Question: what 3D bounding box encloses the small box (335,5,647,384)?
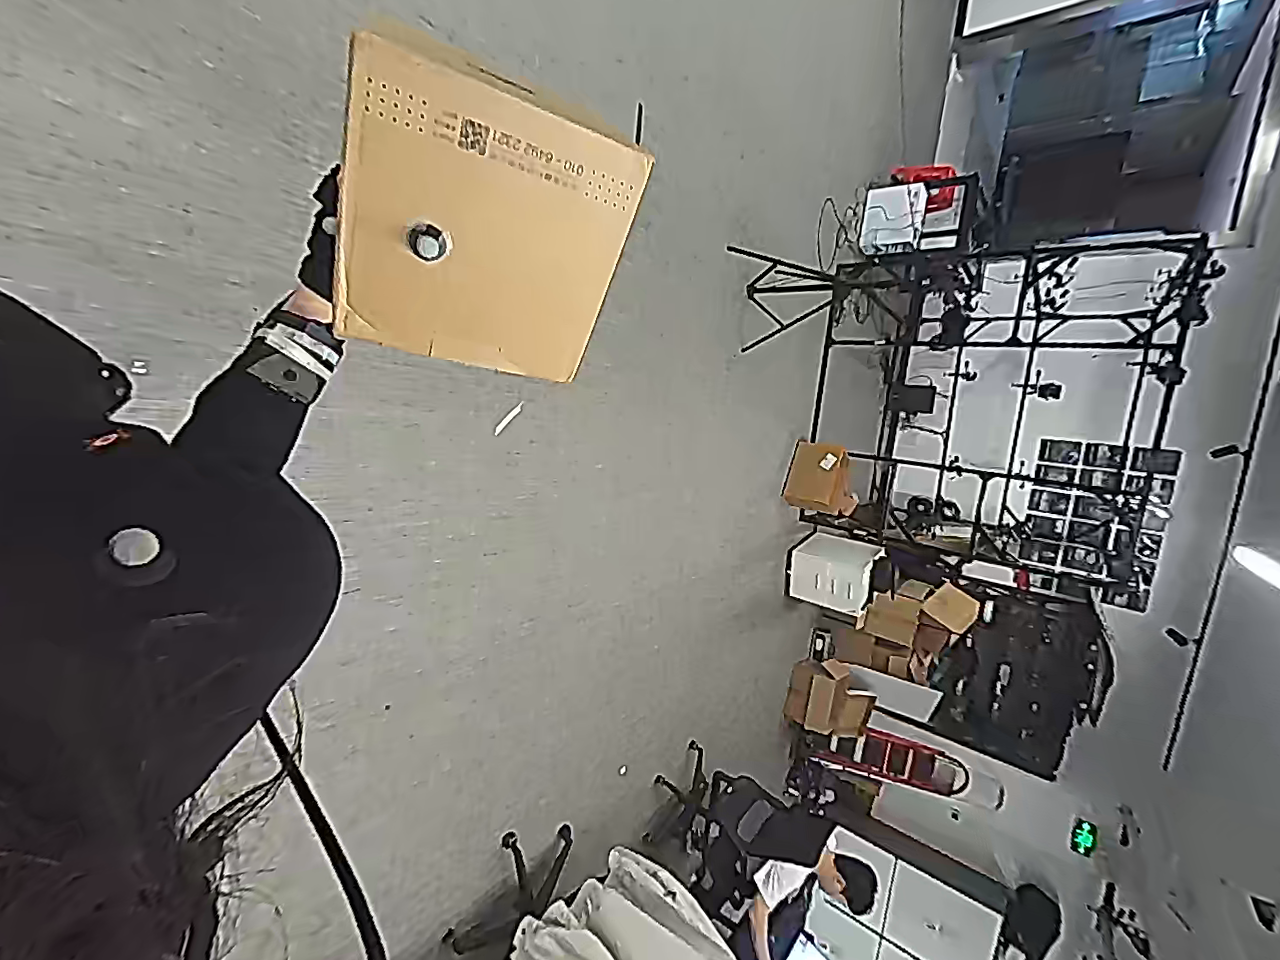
[{"bbox_3d":[-0.113,-0.198,0.387,0.168,0.179,0.176,8,128,-29],"label":"small box"}]
